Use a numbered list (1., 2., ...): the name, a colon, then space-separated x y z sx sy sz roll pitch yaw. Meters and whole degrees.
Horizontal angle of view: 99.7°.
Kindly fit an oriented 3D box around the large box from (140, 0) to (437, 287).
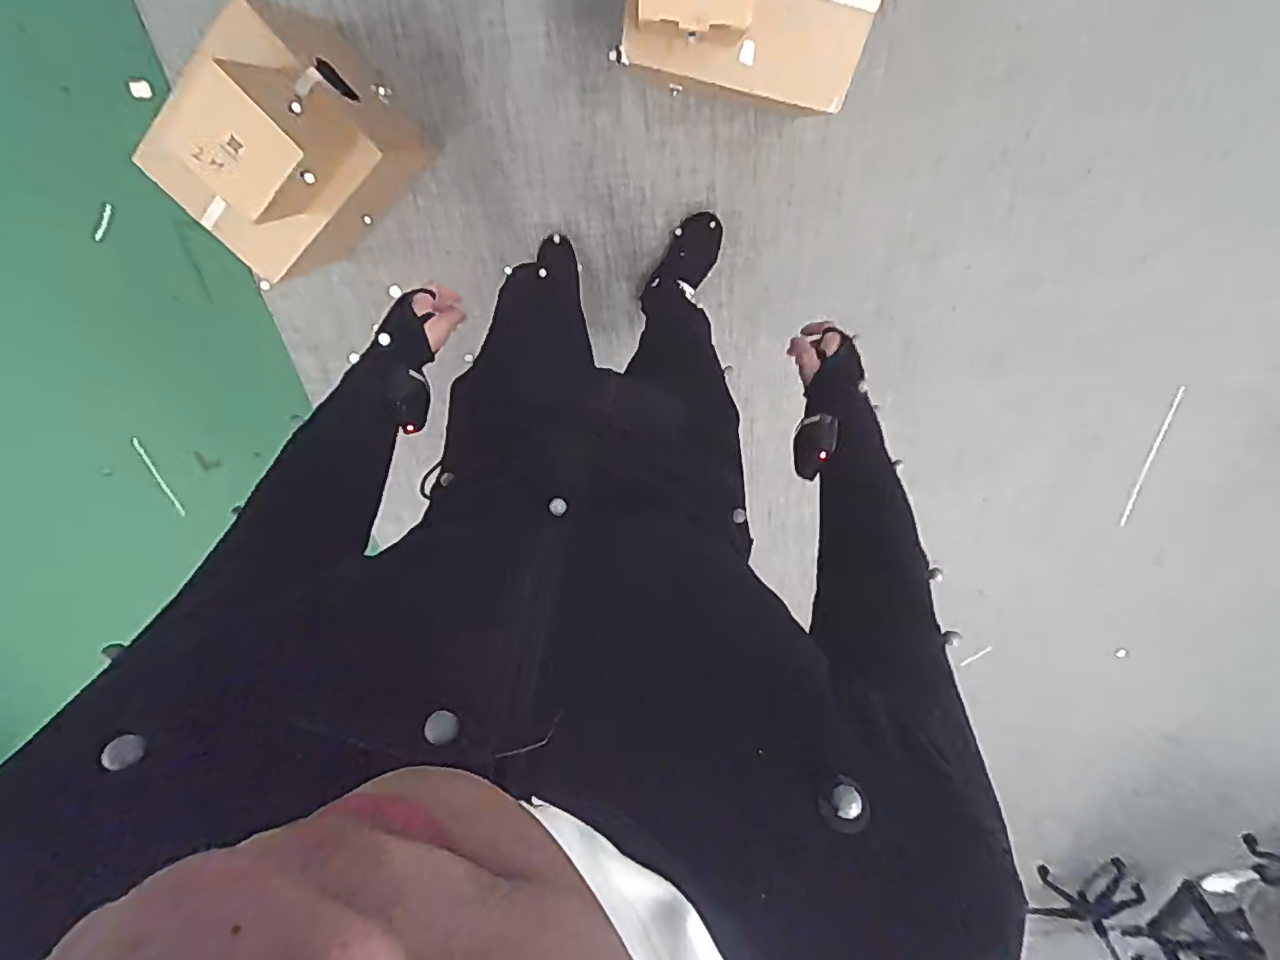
1. large box: -0.725 -0.702 1.165 0.408 0.320 0.320 -33 114 22

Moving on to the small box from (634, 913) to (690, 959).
1. small box: 0.073 1.525 1.738 0.168 0.176 0.179 -6 122 6

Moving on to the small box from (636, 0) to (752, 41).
1. small box: 0.086 -0.766 0.790 0.168 0.176 0.179 5 124 -1

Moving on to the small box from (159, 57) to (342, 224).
1. small box: -0.660 -0.586 0.942 0.179 0.176 0.168 -34 115 22
